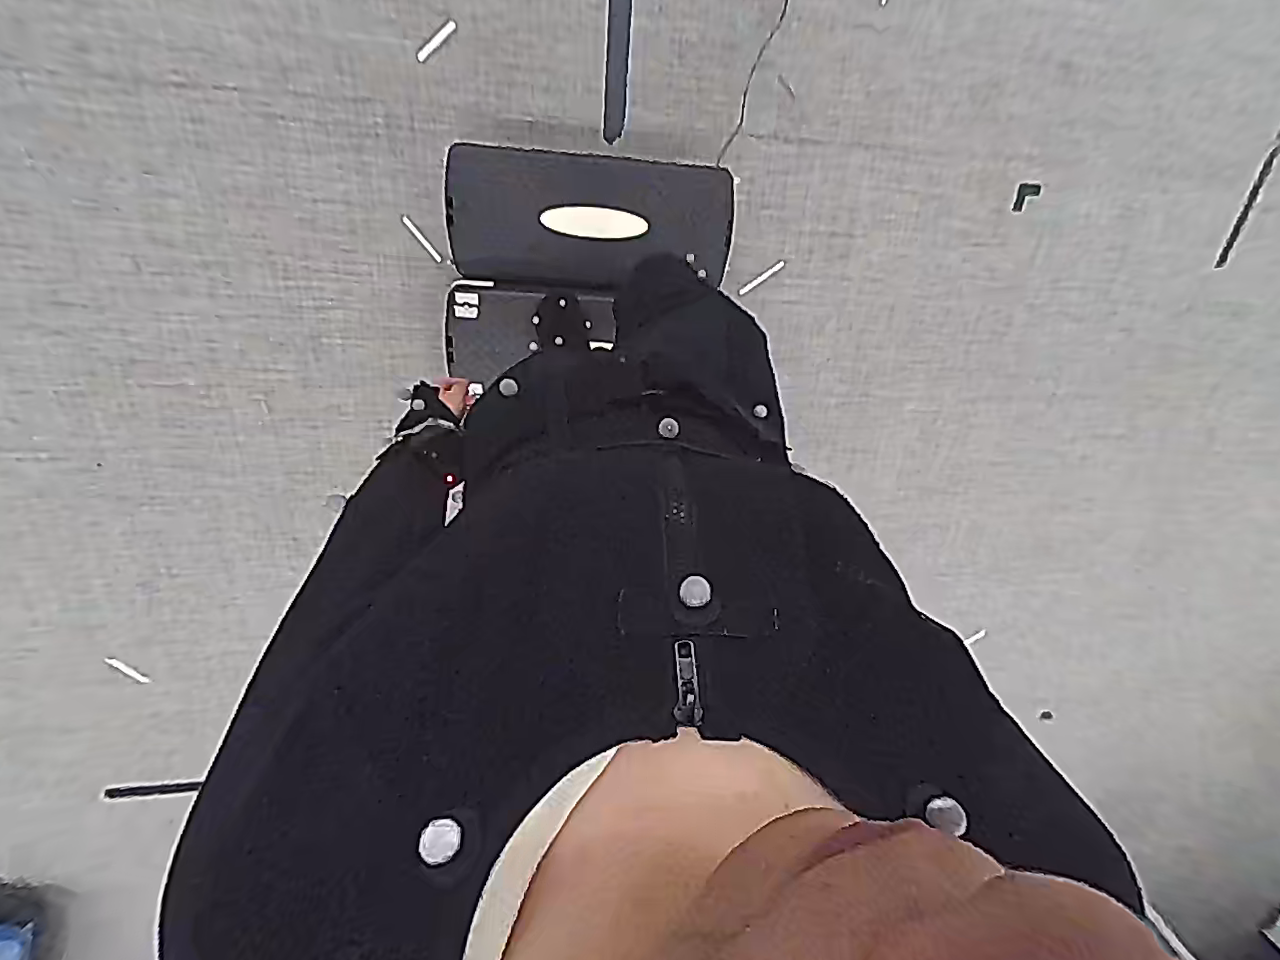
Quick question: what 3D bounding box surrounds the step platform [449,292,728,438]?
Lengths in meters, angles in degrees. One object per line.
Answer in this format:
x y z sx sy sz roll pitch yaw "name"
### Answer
-0.124 -0.286 1.371 0.684 0.204 0.286 5 111 -9 "step platform"
